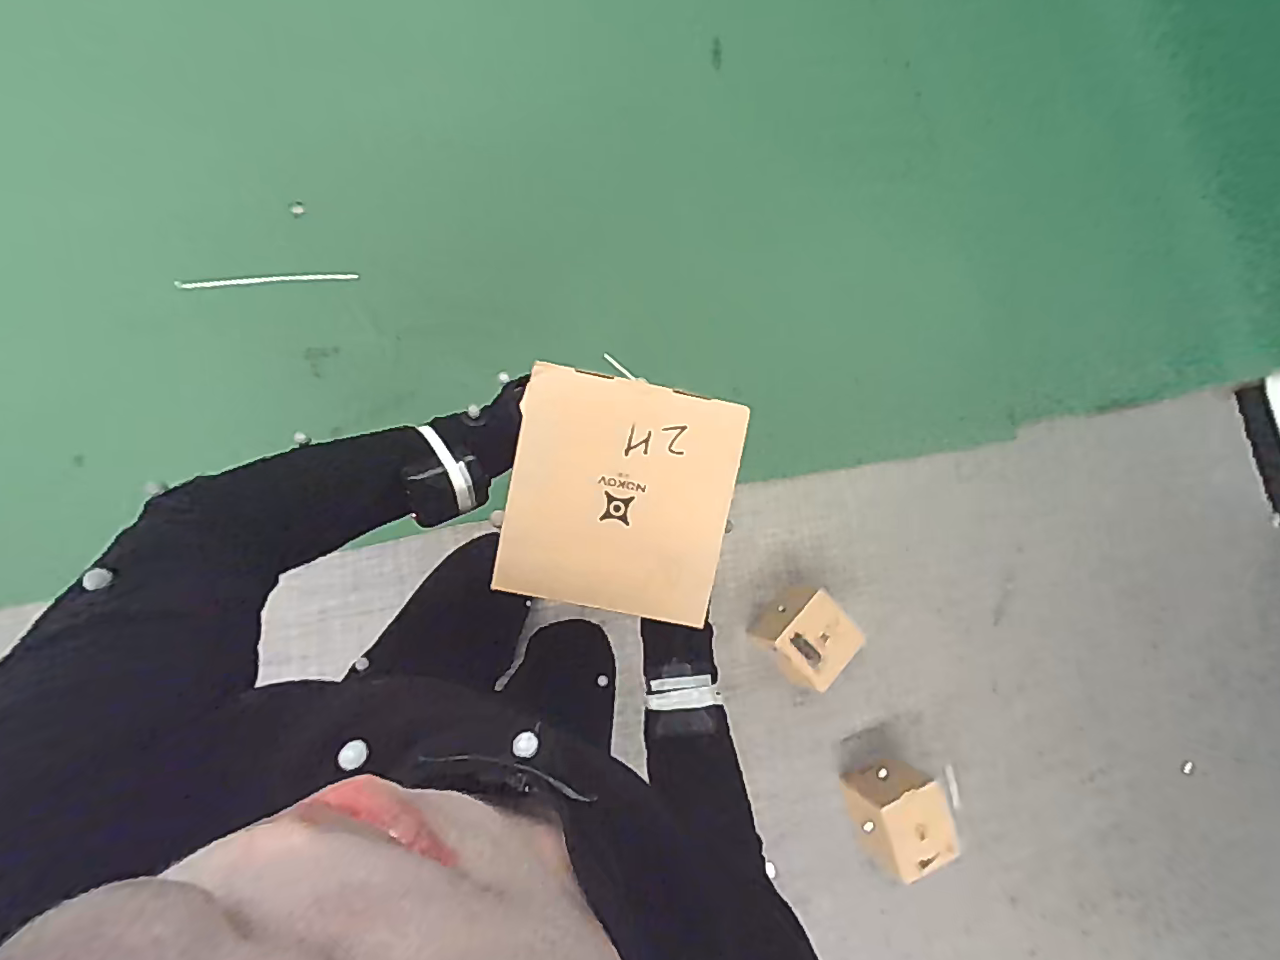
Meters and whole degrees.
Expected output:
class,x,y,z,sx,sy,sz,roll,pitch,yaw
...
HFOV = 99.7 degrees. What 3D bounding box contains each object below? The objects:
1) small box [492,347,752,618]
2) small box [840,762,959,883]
class,x,y,z,sx,sy,sz,roll,pitch,yaw
small box,-0.017,-0.001,0.478,0.168,0.176,0.179,12,93,-4
small box,0.613,0.805,1.299,0.168,0.176,0.179,-15,84,-13
